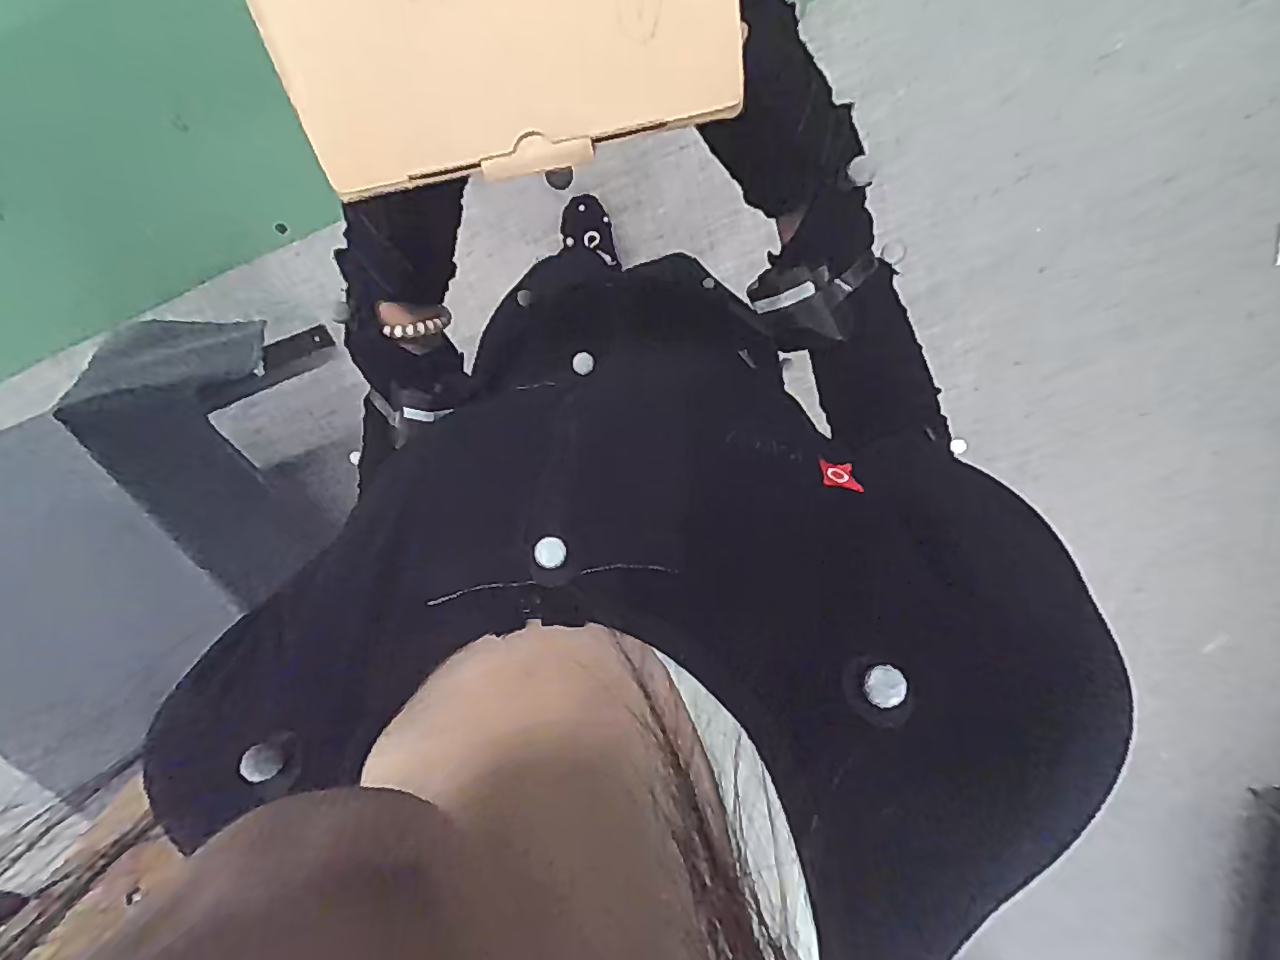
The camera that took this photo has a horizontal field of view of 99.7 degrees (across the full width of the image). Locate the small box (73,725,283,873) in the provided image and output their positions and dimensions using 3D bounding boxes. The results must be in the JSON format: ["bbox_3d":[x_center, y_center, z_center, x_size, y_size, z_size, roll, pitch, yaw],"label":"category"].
[{"bbox_3d":[-0.772,0.559,0.928,0.179,0.176,0.168,-19,116,6],"label":"small box"}]

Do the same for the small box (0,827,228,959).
[{"bbox_3d":[-0.768,0.635,0.784,0.168,0.176,0.179,-21,115,9],"label":"small box"}]
